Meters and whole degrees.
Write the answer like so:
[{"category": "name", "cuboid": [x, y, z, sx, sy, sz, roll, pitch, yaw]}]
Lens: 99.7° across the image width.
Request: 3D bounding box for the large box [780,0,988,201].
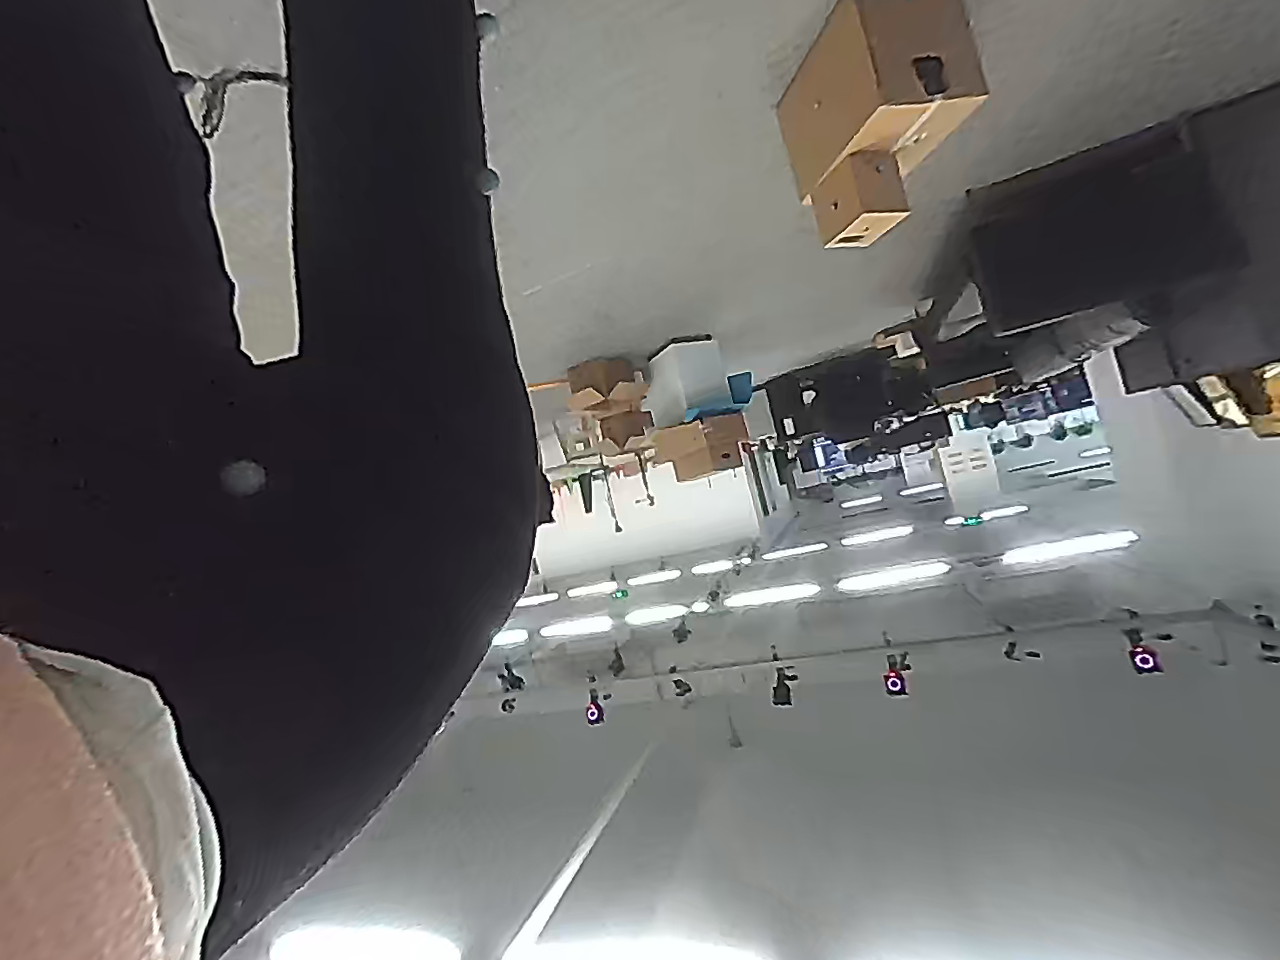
[{"category": "large box", "cuboid": [0.632, -1.039, 1.477, 0.320, 0.320, 0.408, -14, 177, -12]}]
